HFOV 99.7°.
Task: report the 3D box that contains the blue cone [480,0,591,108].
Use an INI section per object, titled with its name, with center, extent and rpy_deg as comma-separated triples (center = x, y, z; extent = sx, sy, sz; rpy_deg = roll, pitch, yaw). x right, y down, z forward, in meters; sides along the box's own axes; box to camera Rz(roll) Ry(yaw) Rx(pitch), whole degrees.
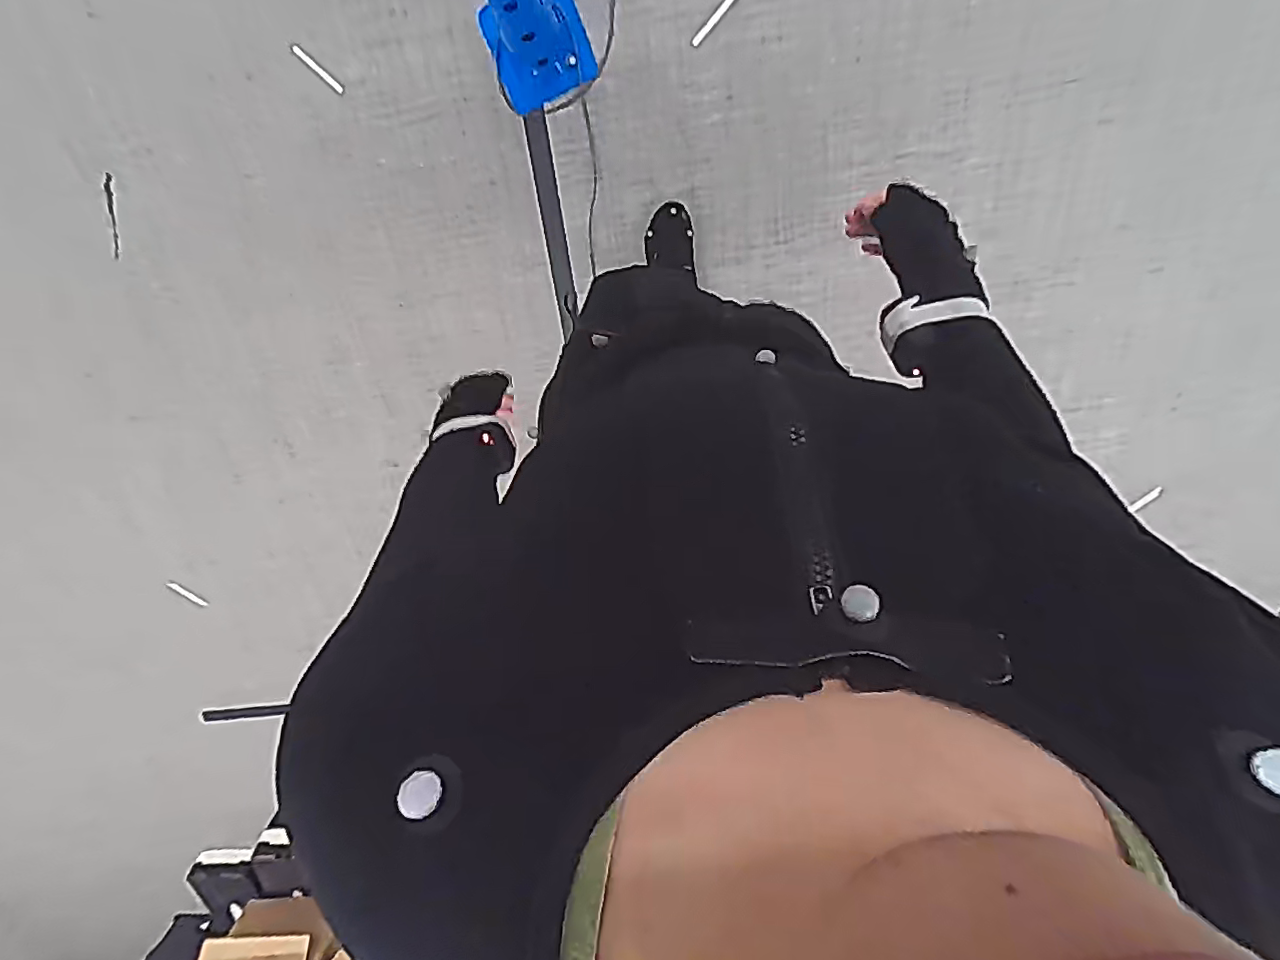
[blue cone]
center = -0.219, -0.838, 0.957
extent = 0.193, 0.380, 0.192
rpy_deg = -22, 111, 10
